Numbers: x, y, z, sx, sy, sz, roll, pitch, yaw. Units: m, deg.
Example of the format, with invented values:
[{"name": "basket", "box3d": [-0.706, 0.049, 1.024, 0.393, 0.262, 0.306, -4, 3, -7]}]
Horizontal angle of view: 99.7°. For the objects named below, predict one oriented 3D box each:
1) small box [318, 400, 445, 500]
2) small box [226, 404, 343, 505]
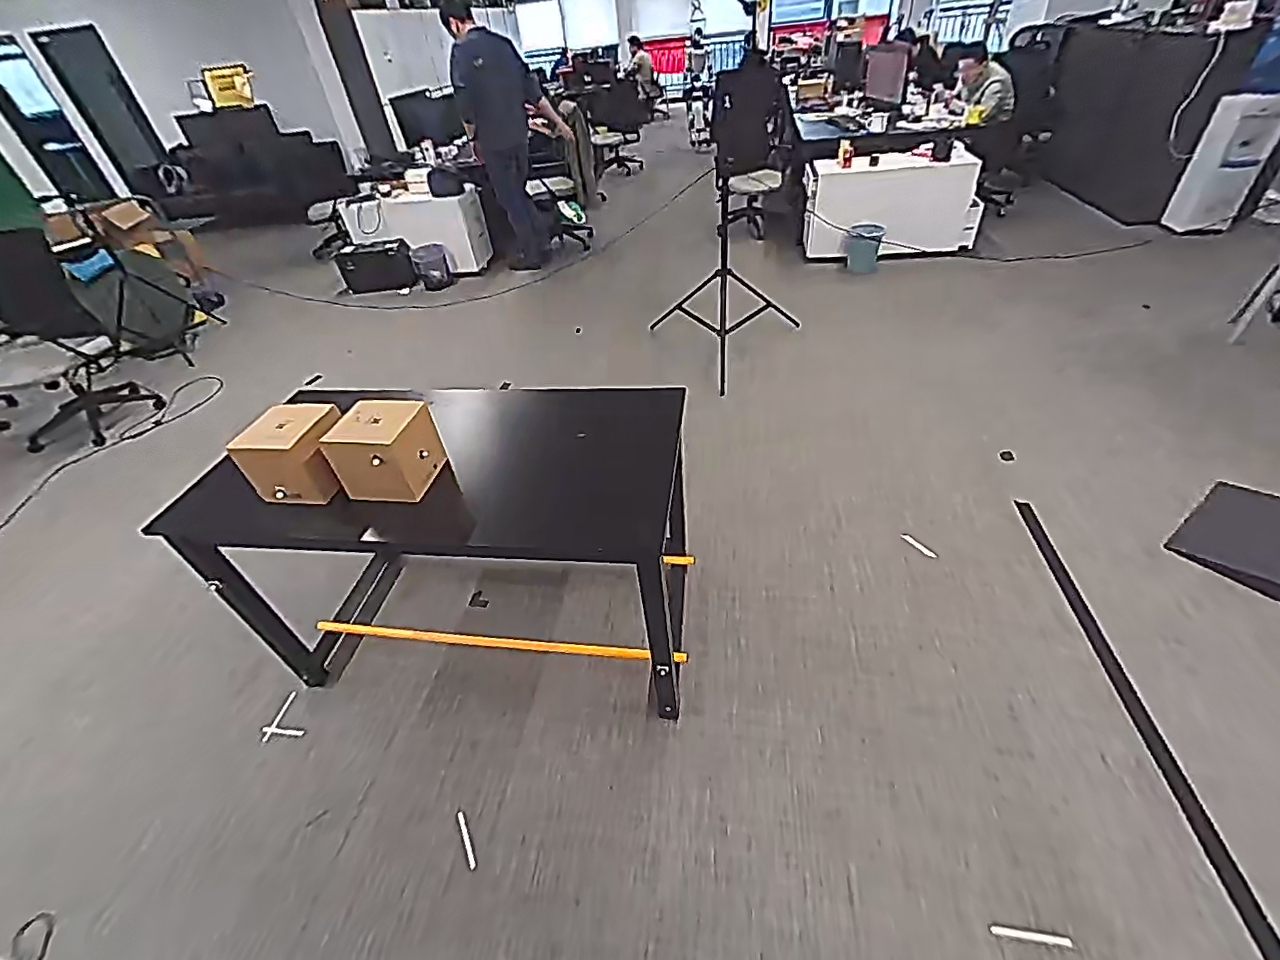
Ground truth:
[{"name": "small box", "box3d": [-0.577, -0.067, 1.238, 0.179, 0.176, 0.168, 2, 41, 11]}, {"name": "small box", "box3d": [-0.796, -0.062, 1.266, 0.168, 0.176, 0.179, 0, 42, 10]}]
